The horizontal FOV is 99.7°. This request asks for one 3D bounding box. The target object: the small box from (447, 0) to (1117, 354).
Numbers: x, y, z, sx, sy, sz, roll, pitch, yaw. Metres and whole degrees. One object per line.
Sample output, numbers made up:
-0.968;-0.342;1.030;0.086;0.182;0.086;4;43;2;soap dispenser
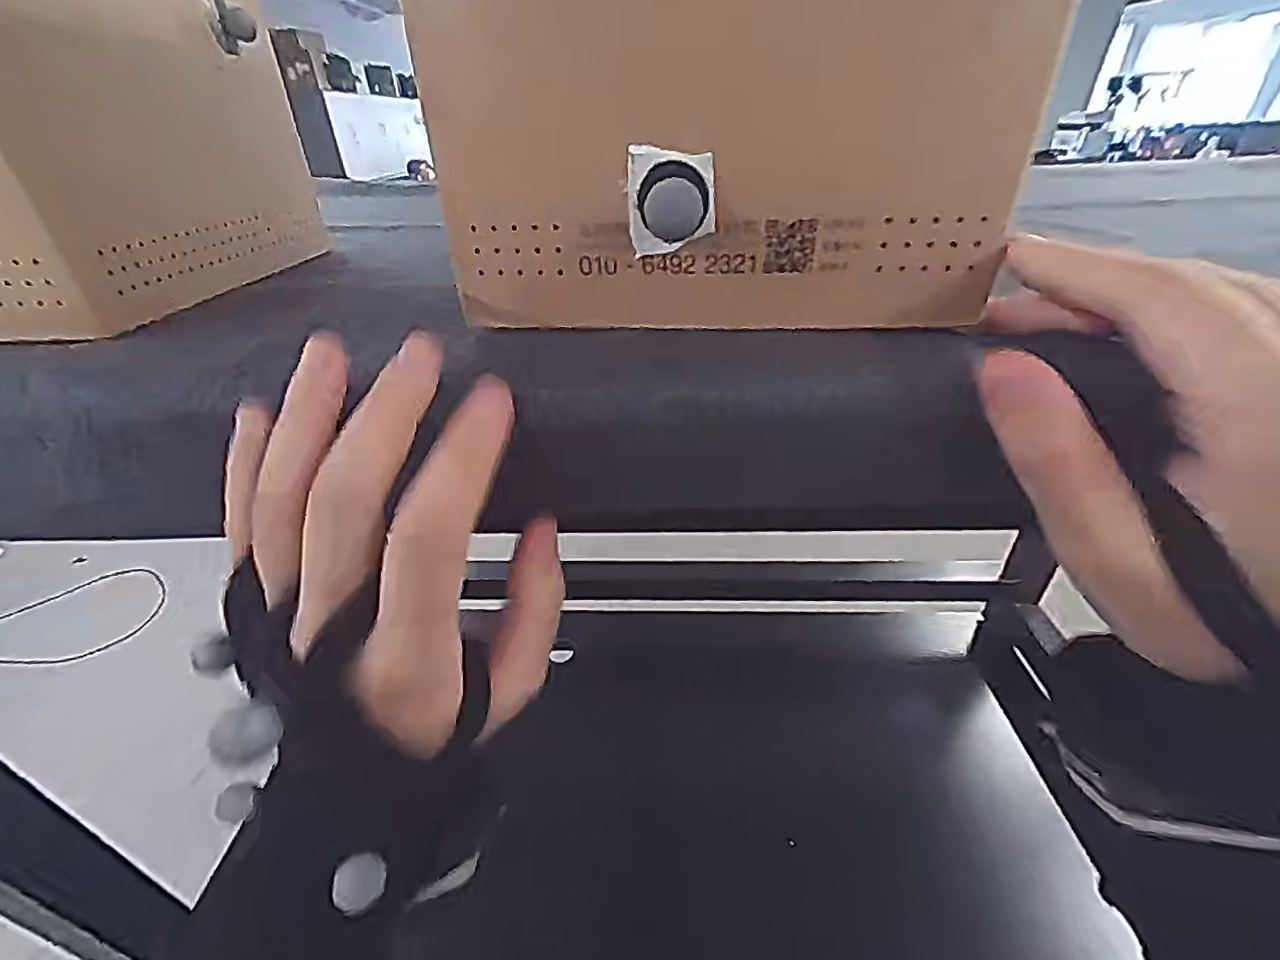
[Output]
0.035;-0.155;0.198;0.168;0.176;0.179;0;32;5;small box
